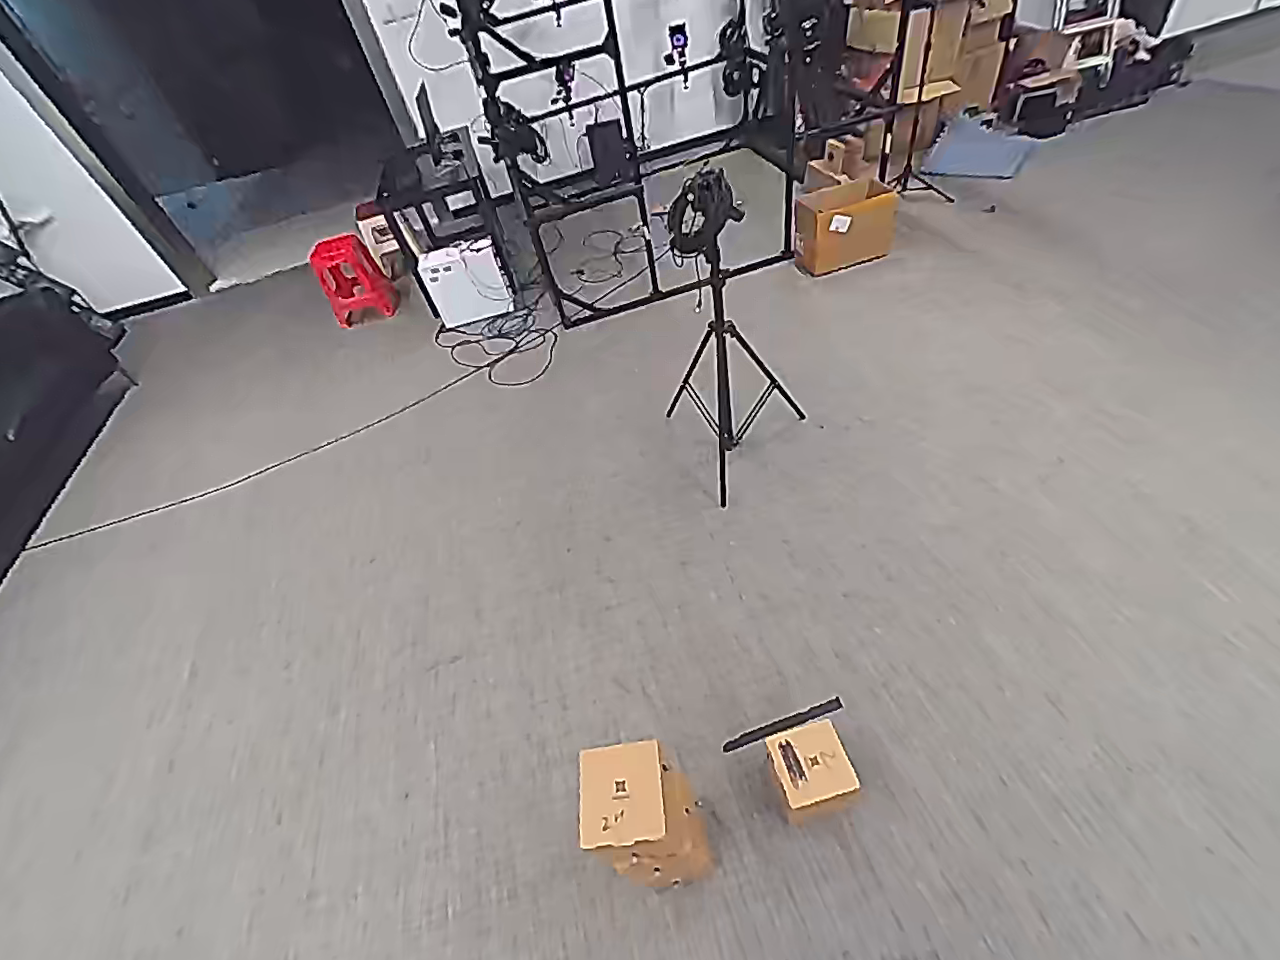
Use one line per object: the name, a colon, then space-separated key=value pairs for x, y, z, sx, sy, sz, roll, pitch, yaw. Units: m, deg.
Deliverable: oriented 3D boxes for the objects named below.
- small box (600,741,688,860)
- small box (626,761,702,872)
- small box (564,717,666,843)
small box: x=0.002 y=0.707 z=1.189 sx=0.168 sy=0.176 sz=0.179 roll=-15 pitch=47 yaw=1
small box: x=0.043 y=0.813 z=1.304 sx=0.168 sy=0.176 sz=0.179 roll=-17 pitch=47 yaw=-1
small box: x=-0.047 y=0.597 z=1.075 sx=0.168 sy=0.176 sz=0.179 roll=-11 pitch=48 yaw=5
